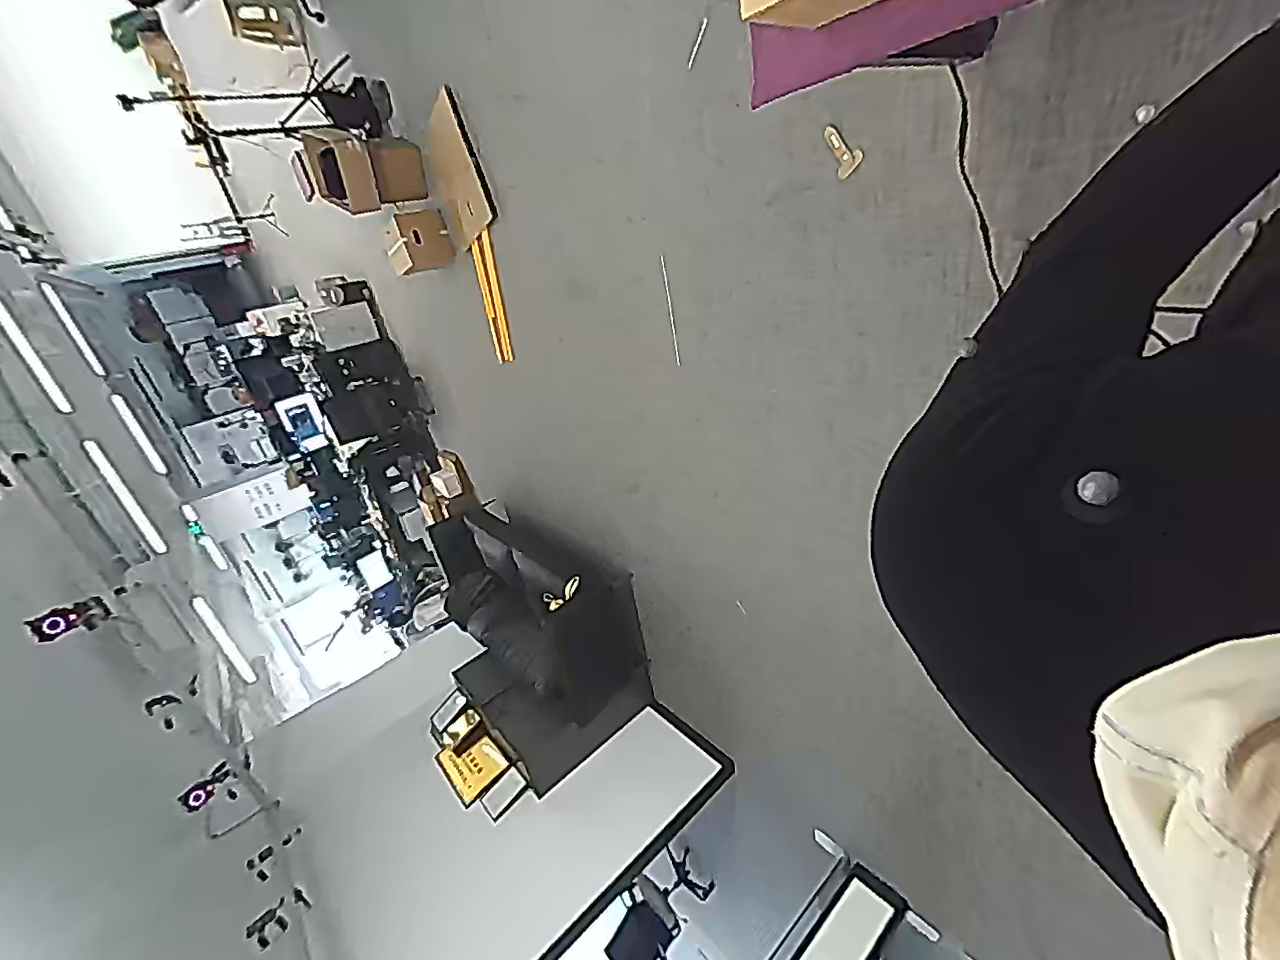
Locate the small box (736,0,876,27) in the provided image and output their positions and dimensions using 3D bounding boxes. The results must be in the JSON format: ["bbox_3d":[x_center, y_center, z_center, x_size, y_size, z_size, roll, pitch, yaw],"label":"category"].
[{"bbox_3d":[0.236,-0.704,0.681,0.179,0.176,0.168,20,128,46],"label":"small box"}]
